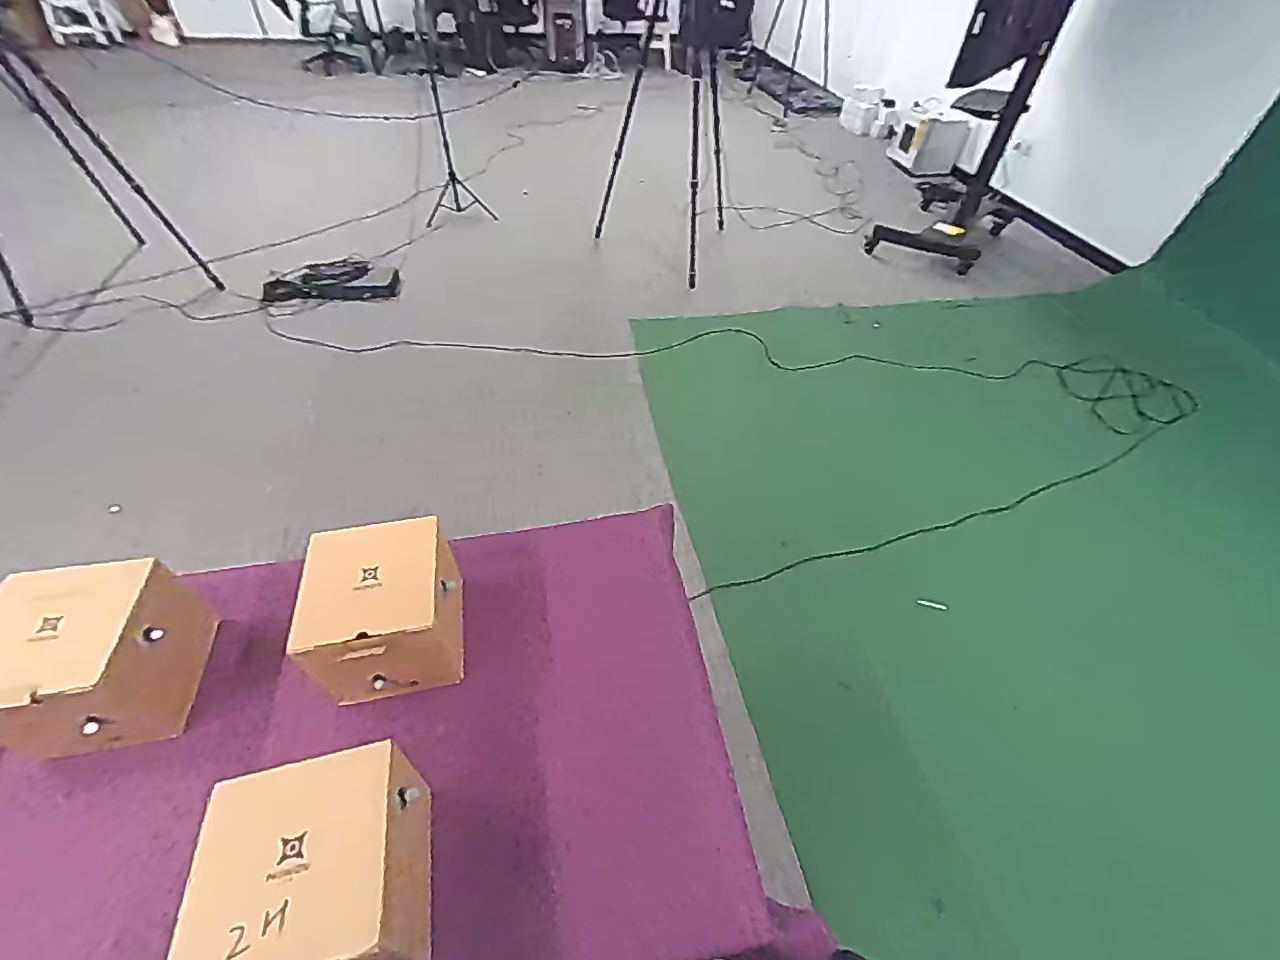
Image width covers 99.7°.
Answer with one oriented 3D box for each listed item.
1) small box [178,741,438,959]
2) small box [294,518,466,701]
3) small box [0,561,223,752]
[{"bbox_3d":[-0.309,0.400,0.544,0.168,0.176,0.179,-11,45,-11],"label":"small box"},{"bbox_3d":[-0.344,0.180,0.753,0.168,0.176,0.179,-9,49,-10],"label":"small box"},{"bbox_3d":[-0.685,0.231,0.695,0.168,0.176,0.179,-6,48,-9],"label":"small box"}]
